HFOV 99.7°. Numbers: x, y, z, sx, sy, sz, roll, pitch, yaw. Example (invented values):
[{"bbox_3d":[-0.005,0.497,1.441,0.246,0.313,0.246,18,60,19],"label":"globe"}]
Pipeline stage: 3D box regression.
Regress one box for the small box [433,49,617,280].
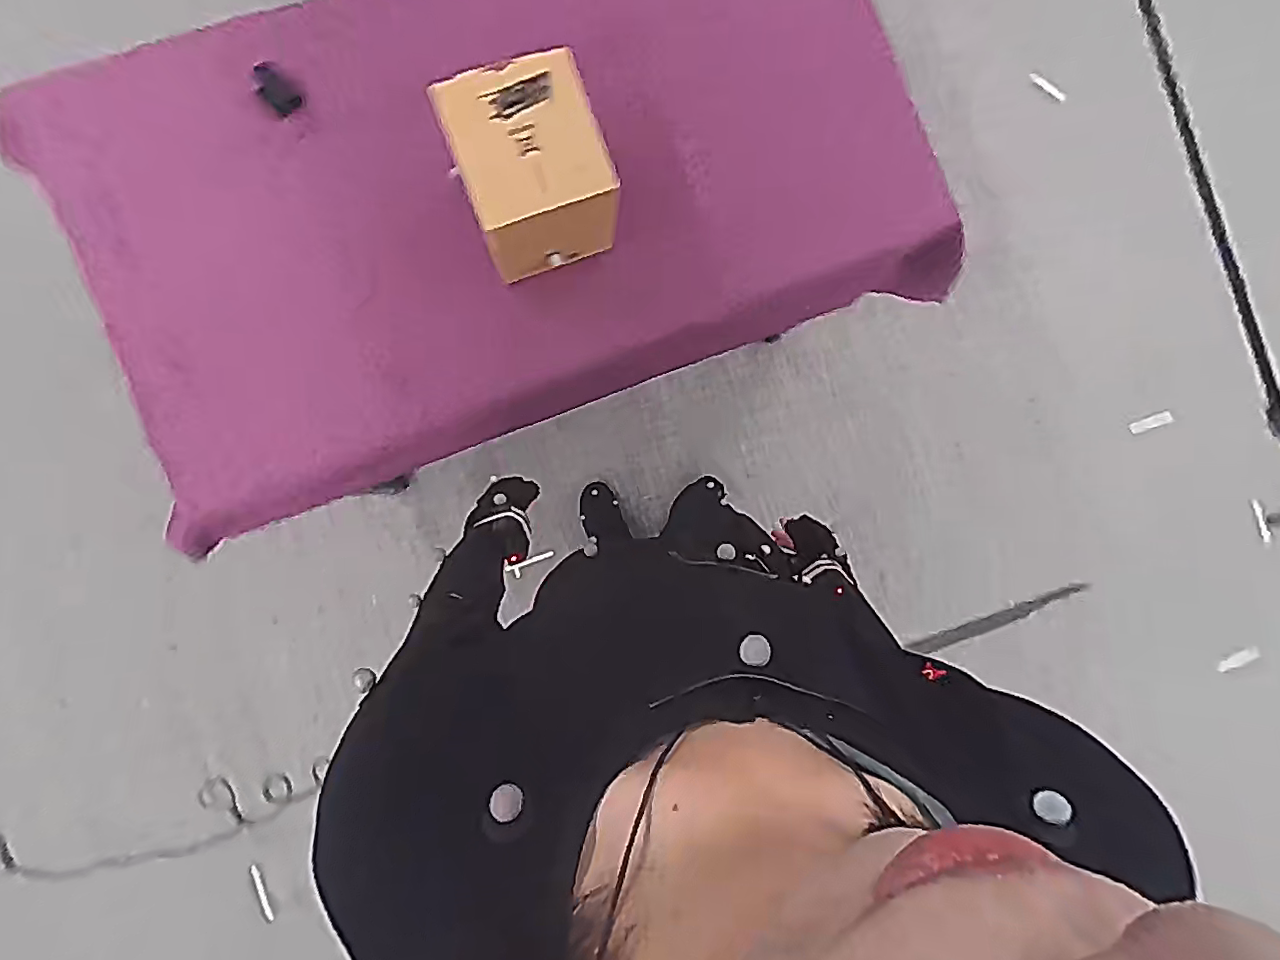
[{"bbox_3d":[-0.141,-0.393,0.701,0.168,0.176,0.179,-22,92,-6],"label":"small box"}]
